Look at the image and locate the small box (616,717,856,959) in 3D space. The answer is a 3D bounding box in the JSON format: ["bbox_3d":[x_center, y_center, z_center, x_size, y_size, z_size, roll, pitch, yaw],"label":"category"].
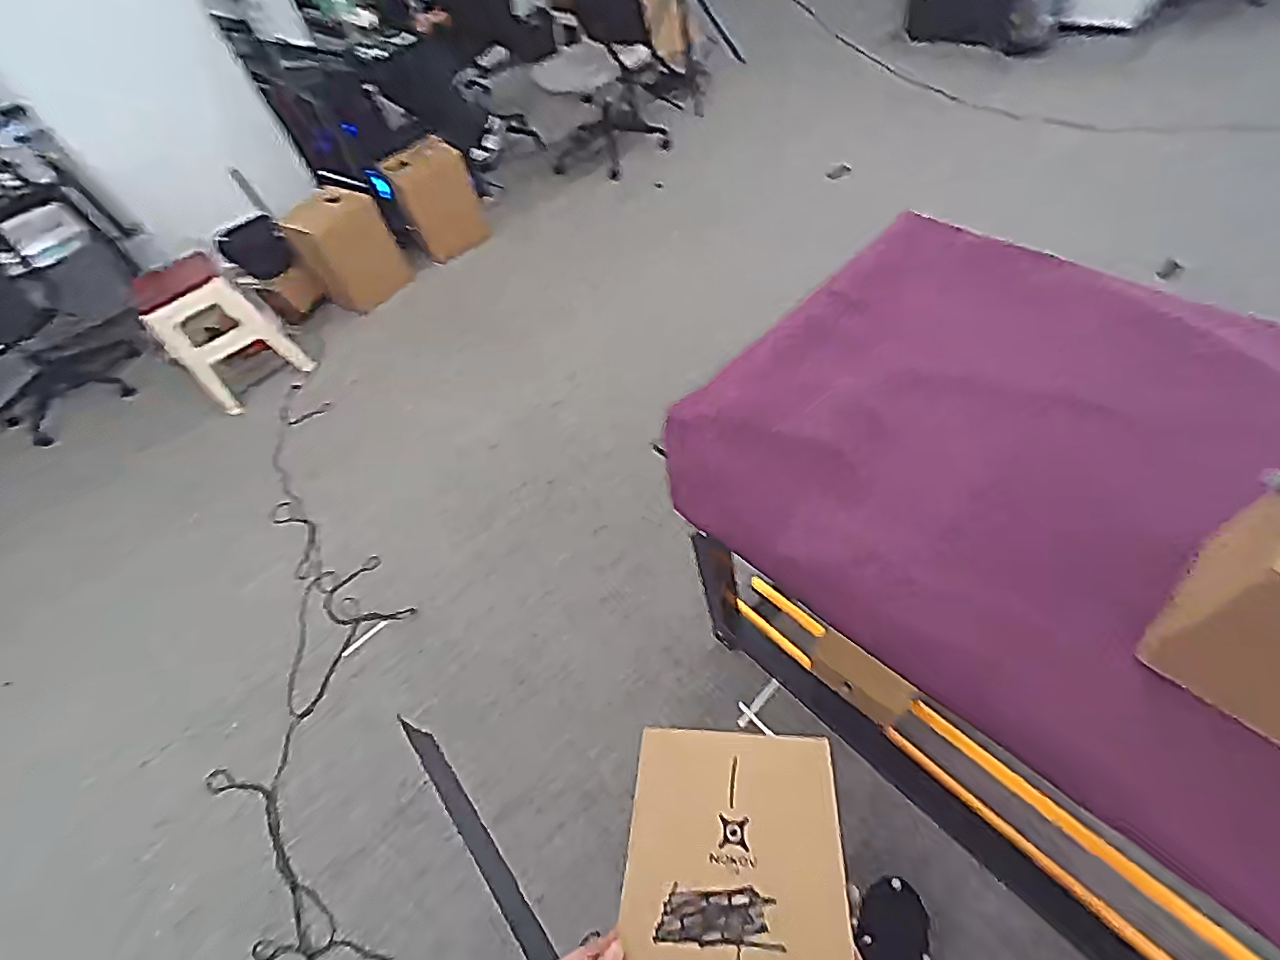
[{"bbox_3d":[0.086,0.335,0.472,0.168,0.176,0.179,-1,41,12],"label":"small box"}]

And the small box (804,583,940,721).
[{"bbox_3d":[0.436,0.336,1.040,0.179,0.176,0.168,32,69,32],"label":"small box"}]
